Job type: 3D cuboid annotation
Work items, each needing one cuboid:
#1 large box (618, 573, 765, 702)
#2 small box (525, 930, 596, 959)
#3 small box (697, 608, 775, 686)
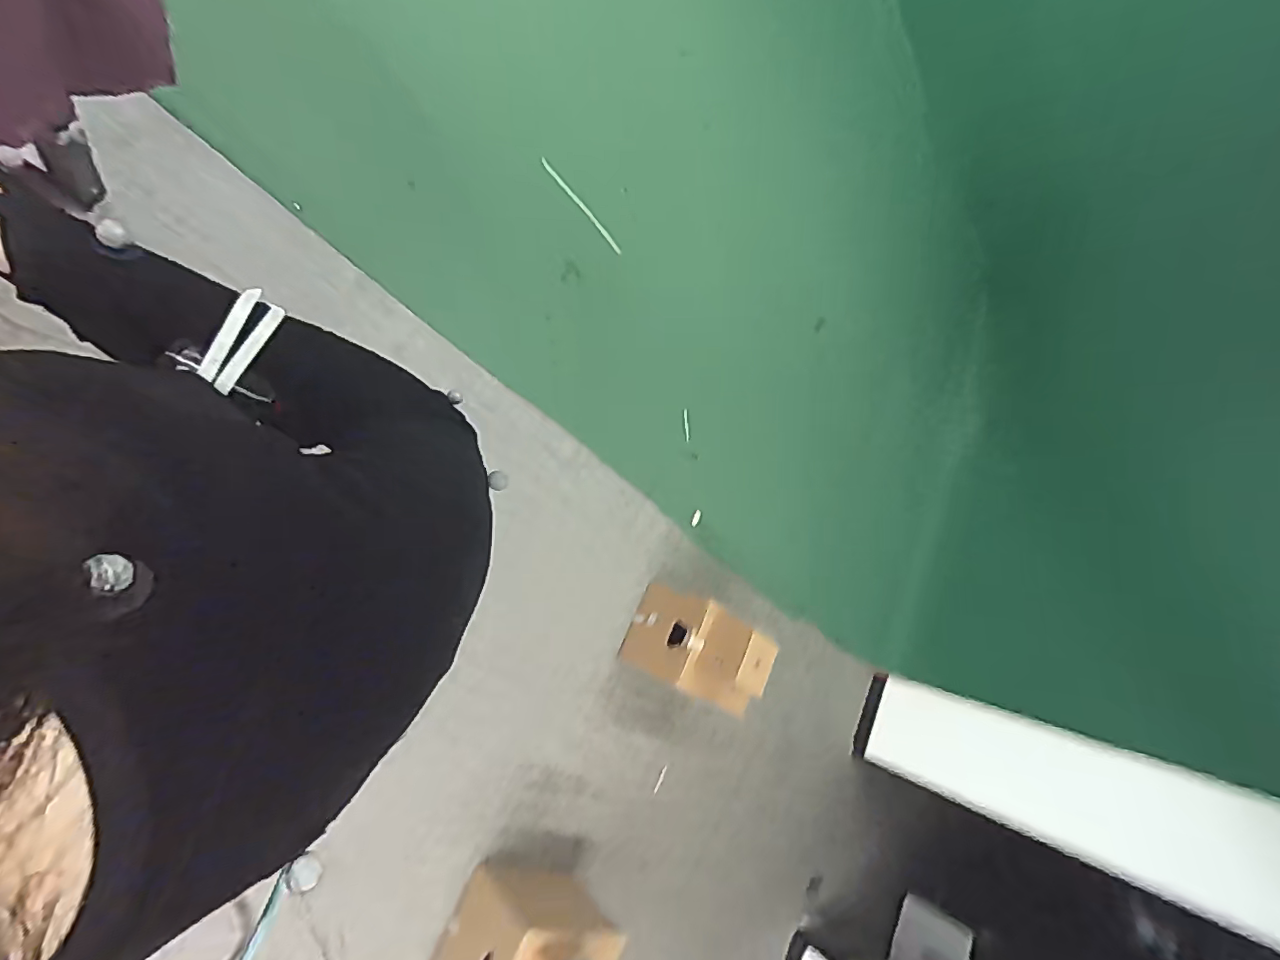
[{"bbox_3d":[0.193,0.580,2.017,0.408,0.320,0.320,38,70,-36],"label":"large box"},{"bbox_3d":[-0.215,1.347,1.431,0.168,0.176,0.179,36,70,-36],"label":"small box"},{"bbox_3d":[0.313,0.550,1.794,0.168,0.176,0.179,41,66,-35],"label":"small box"}]
